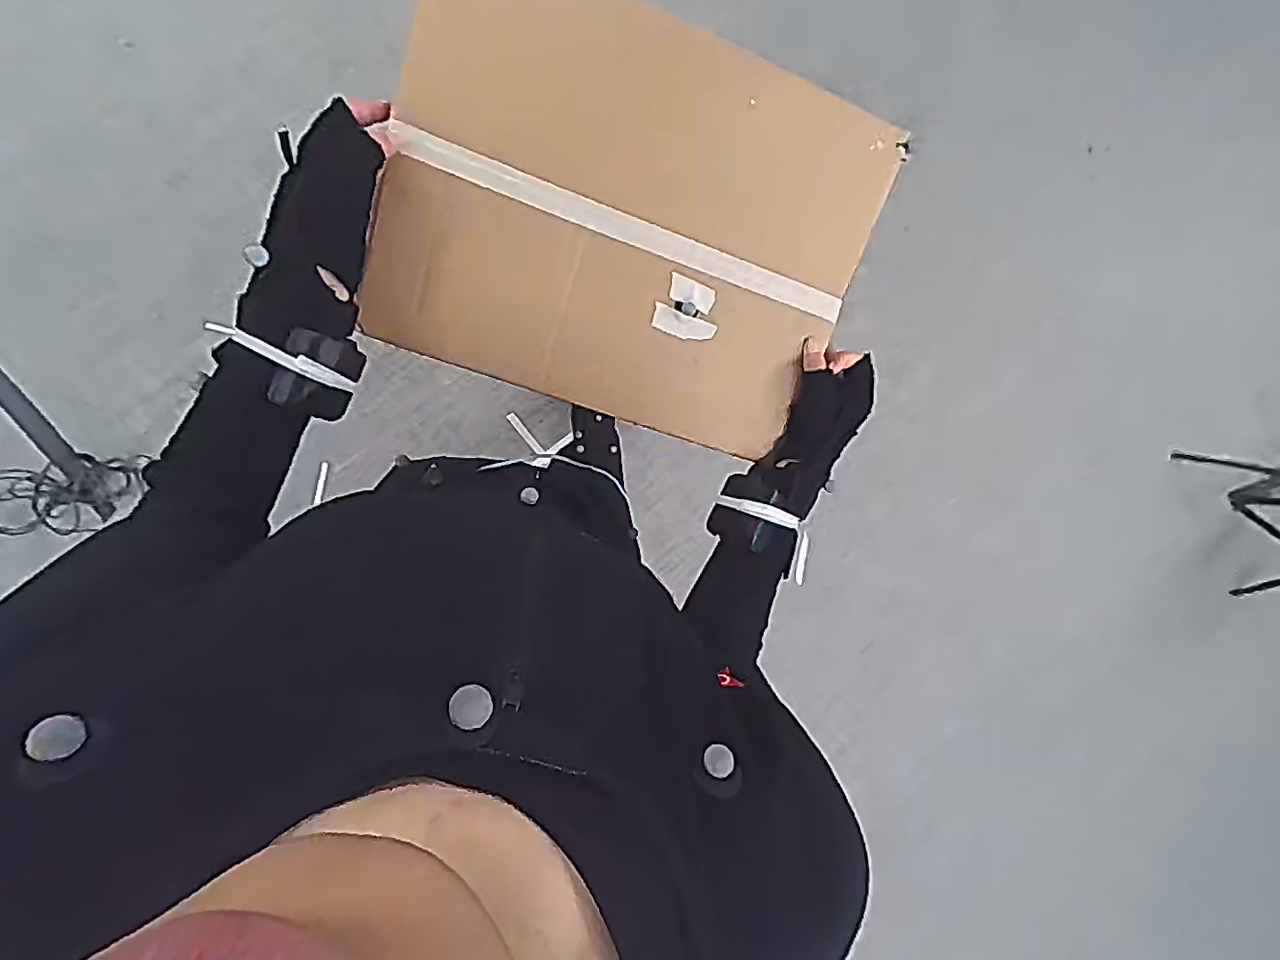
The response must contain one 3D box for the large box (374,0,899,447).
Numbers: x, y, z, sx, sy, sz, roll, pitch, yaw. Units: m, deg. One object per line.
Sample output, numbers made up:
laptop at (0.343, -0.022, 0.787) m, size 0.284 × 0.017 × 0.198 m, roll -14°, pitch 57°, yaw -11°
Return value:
large box at (-0.021, -0.266, 0.616) m, size 0.408 × 0.320 × 0.320 m, roll 17°, pitch 105°, yaw -13°
